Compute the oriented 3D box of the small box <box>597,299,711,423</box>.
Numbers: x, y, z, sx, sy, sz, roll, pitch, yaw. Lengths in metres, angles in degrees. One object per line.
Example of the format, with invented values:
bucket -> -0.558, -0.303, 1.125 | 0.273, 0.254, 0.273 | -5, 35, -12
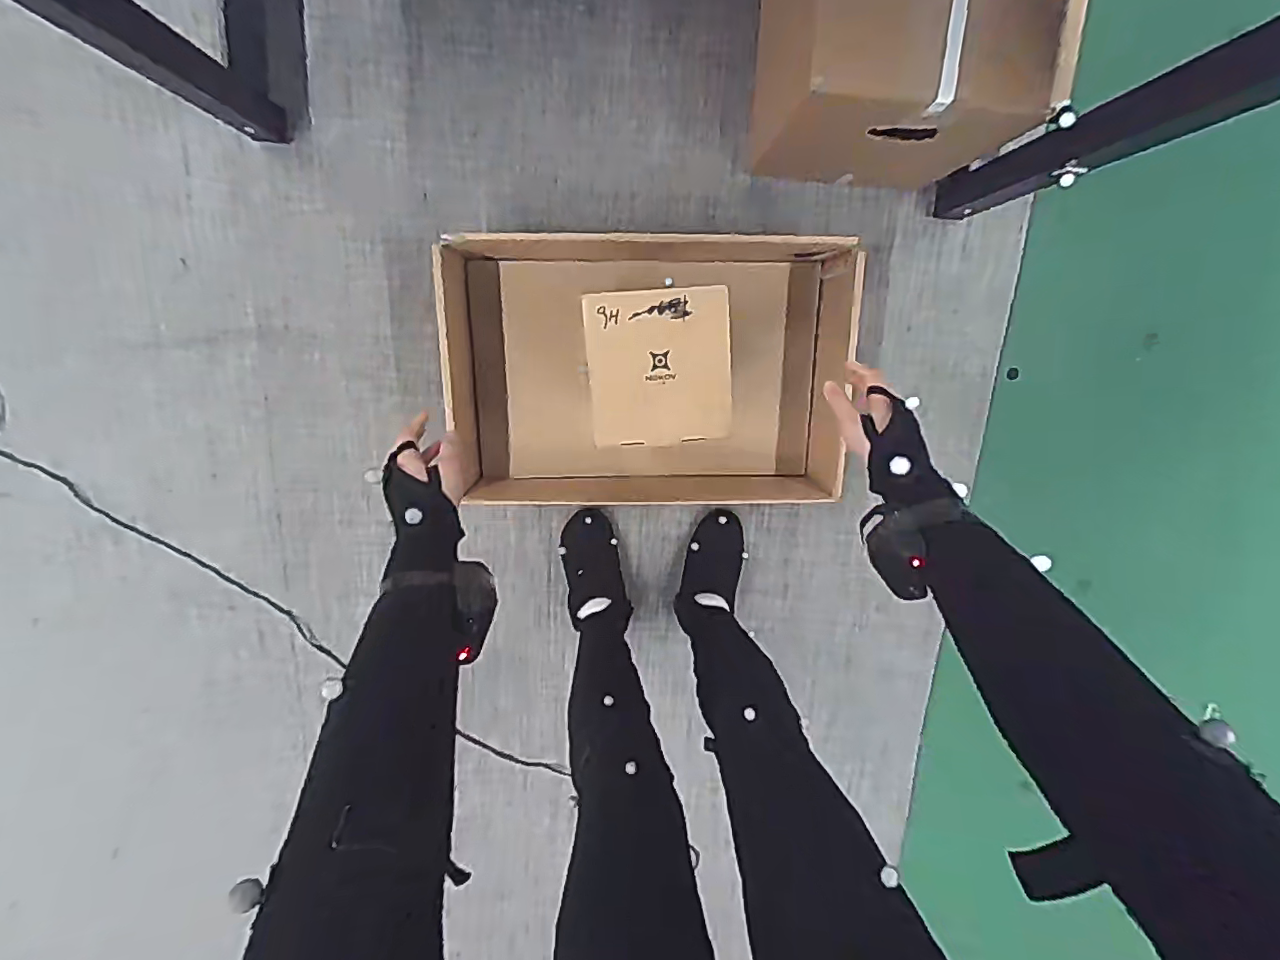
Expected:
small box -> 0.016, -0.188, 0.858 | 0.168, 0.176, 0.179 | -1, 104, -2
